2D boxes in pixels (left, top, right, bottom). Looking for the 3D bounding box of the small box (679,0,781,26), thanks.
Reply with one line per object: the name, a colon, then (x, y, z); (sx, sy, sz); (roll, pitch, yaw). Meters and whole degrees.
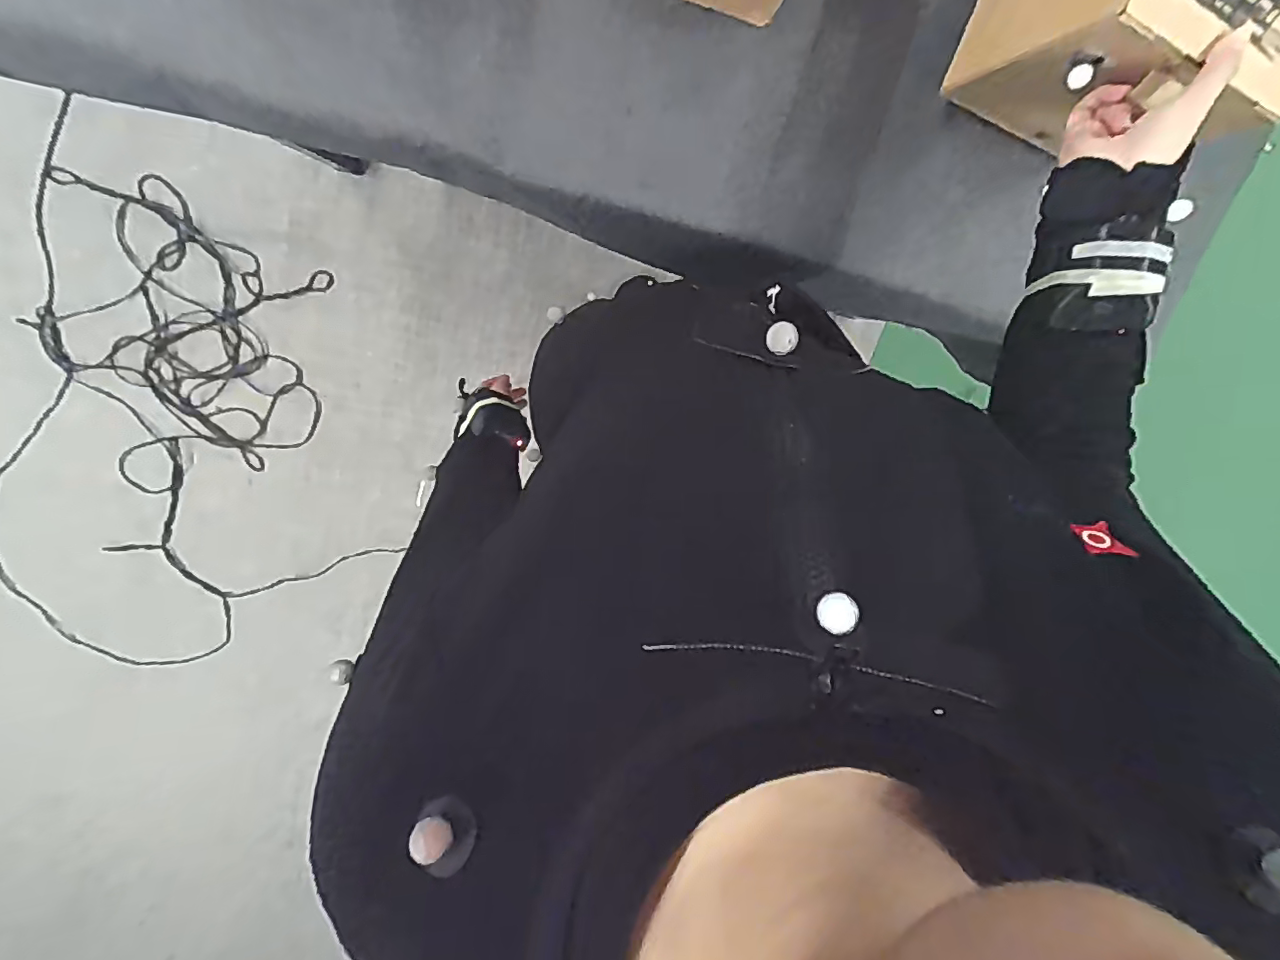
small box: (0.060, -0.469, 0.365); (0.168, 0.176, 0.179); (12, 107, -9)
